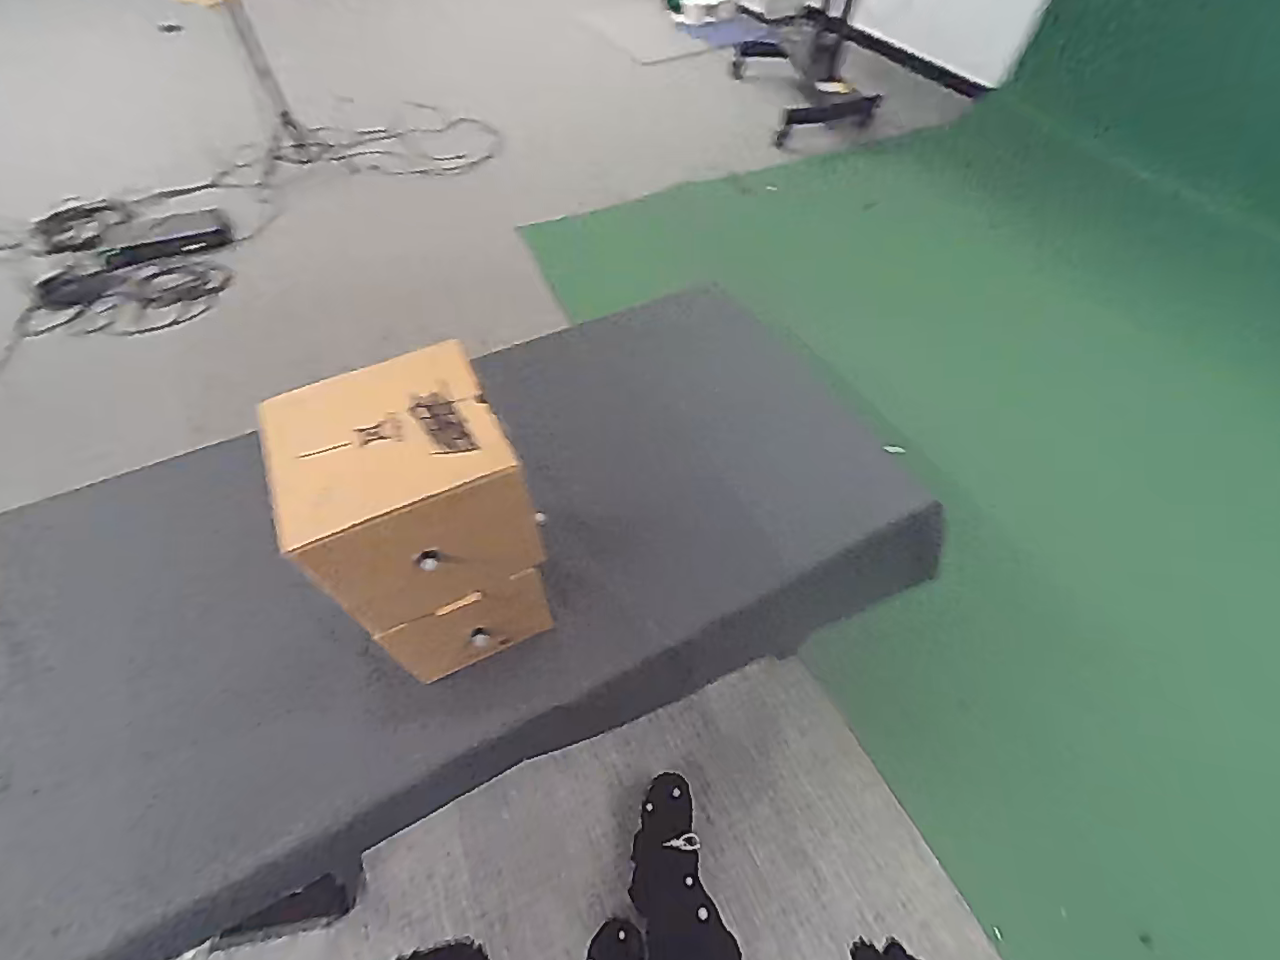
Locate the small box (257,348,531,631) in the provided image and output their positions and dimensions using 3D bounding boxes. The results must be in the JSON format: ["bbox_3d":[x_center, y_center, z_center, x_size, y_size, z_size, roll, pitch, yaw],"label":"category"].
[{"bbox_3d":[-0.214,0.013,0.510,0.179,0.176,0.168,-25,58,-15],"label":"small box"}]

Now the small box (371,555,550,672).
[{"bbox_3d":[-0.220,0.107,0.645,0.168,0.176,0.179,-24,59,-15],"label":"small box"}]
